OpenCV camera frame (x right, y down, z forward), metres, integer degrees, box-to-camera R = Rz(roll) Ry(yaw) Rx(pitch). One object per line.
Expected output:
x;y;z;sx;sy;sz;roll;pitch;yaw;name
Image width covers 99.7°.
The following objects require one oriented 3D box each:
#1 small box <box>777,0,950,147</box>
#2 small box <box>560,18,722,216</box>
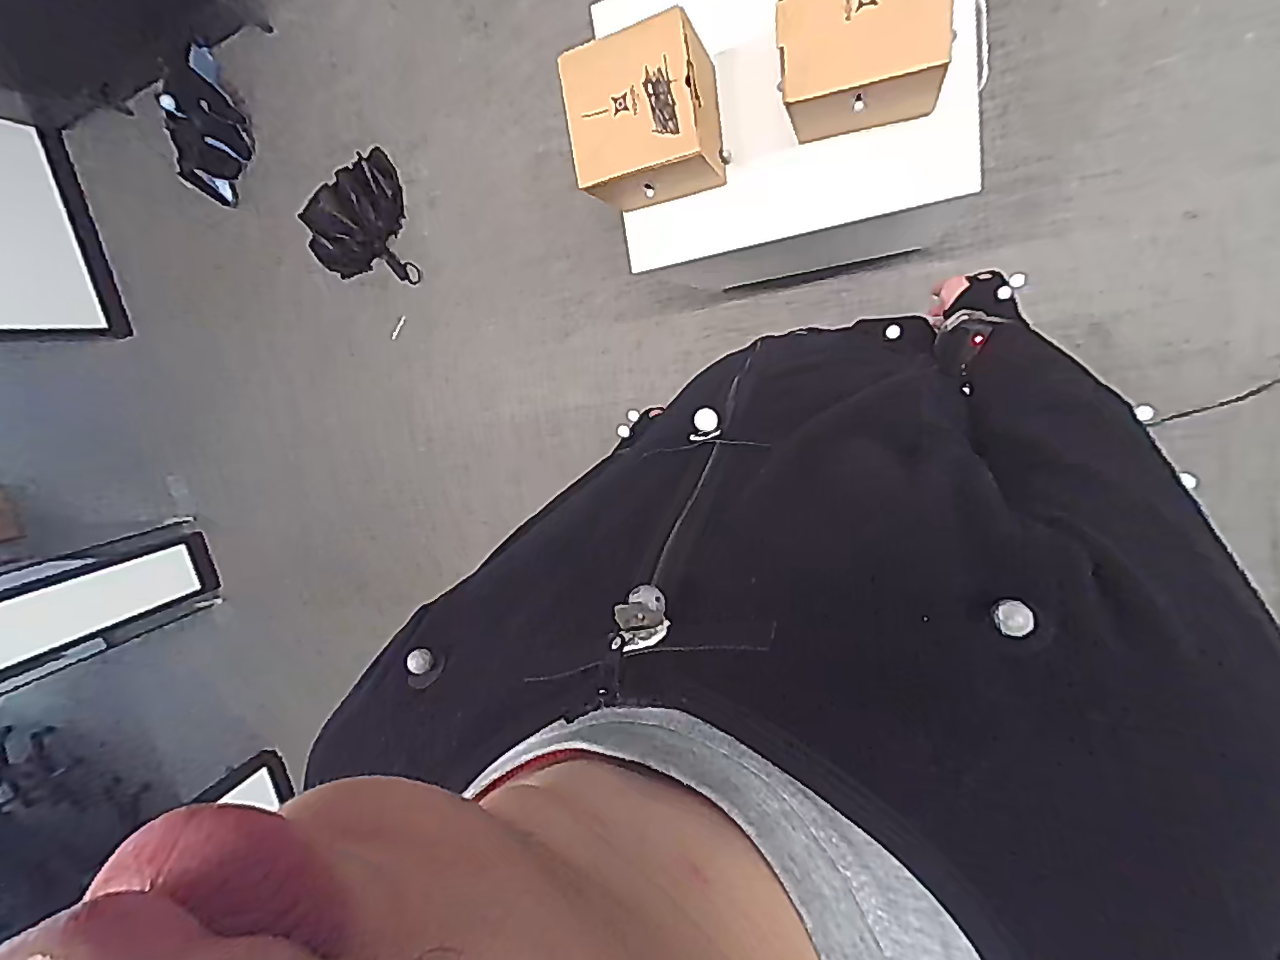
0.269;-0.533;0.659;0.179;0.176;0.168;0;106;22;small box
0.013;-0.496;0.772;0.179;0.176;0.168;-4;102;23;small box
